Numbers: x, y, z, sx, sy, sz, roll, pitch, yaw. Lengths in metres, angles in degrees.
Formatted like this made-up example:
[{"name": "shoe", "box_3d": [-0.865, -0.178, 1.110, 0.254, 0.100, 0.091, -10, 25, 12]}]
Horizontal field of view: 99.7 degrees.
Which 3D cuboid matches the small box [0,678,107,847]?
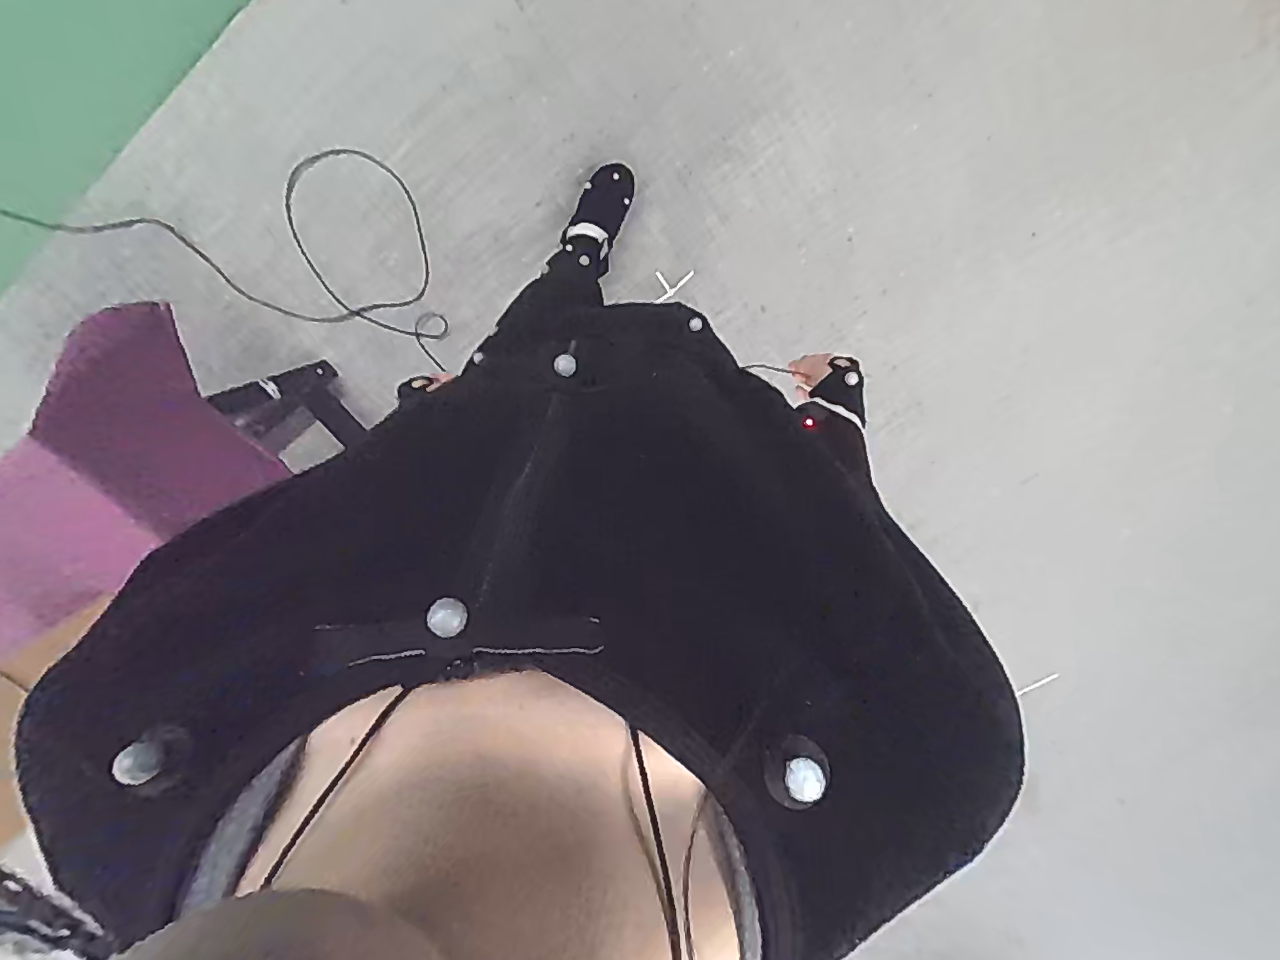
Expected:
[{"name": "small box", "box_3d": [-0.818, 0.363, 0.638, 0.168, 0.176, 0.179, -35, 108, 14]}]
